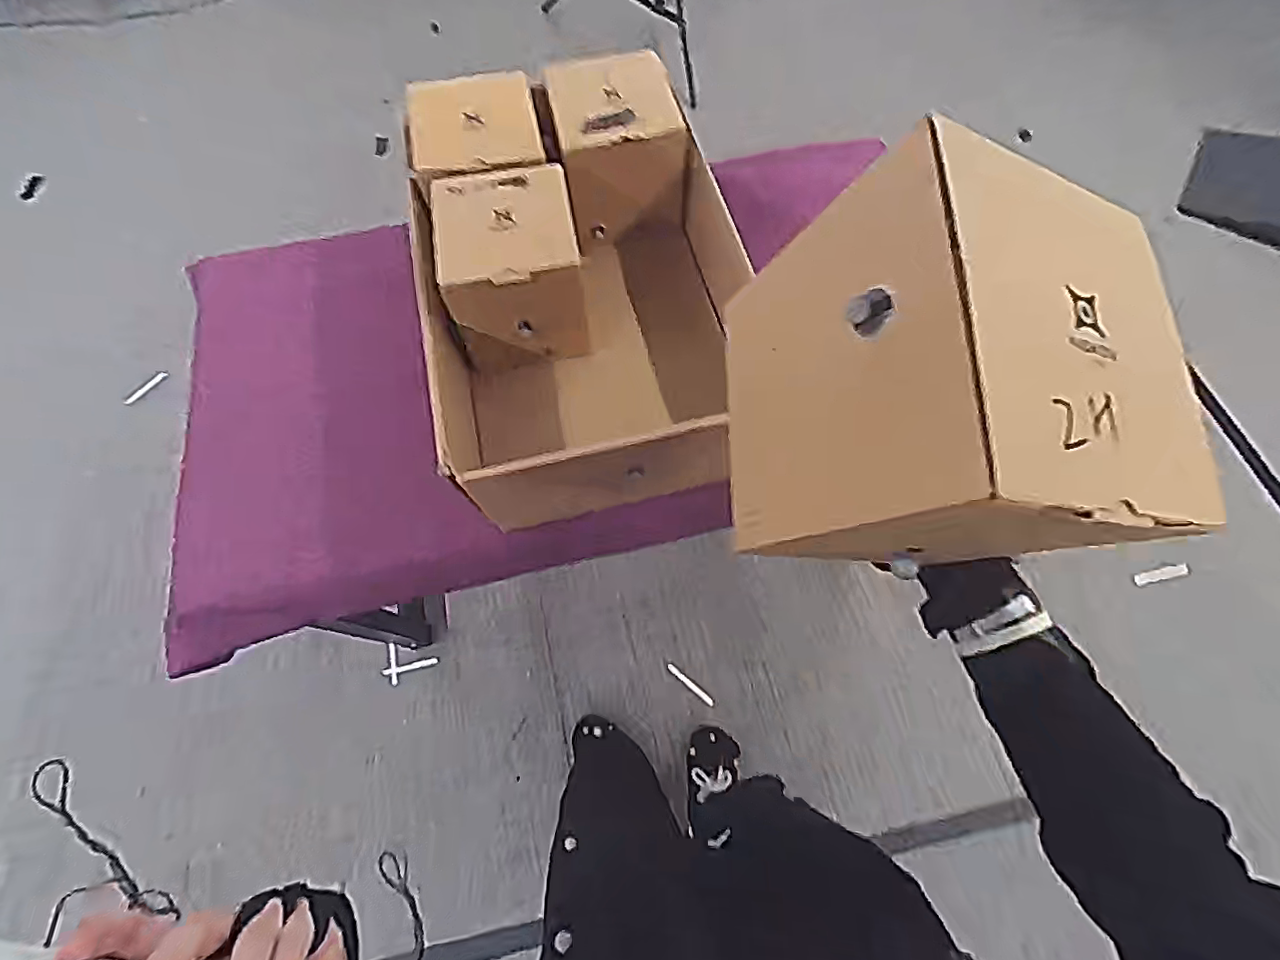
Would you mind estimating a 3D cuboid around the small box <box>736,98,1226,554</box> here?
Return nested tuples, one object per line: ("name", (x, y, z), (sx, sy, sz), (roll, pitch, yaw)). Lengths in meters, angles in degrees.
("small box", (0.168, -0.058, 0.316), (0.168, 0.176, 0.179), (6, 74, -22))
